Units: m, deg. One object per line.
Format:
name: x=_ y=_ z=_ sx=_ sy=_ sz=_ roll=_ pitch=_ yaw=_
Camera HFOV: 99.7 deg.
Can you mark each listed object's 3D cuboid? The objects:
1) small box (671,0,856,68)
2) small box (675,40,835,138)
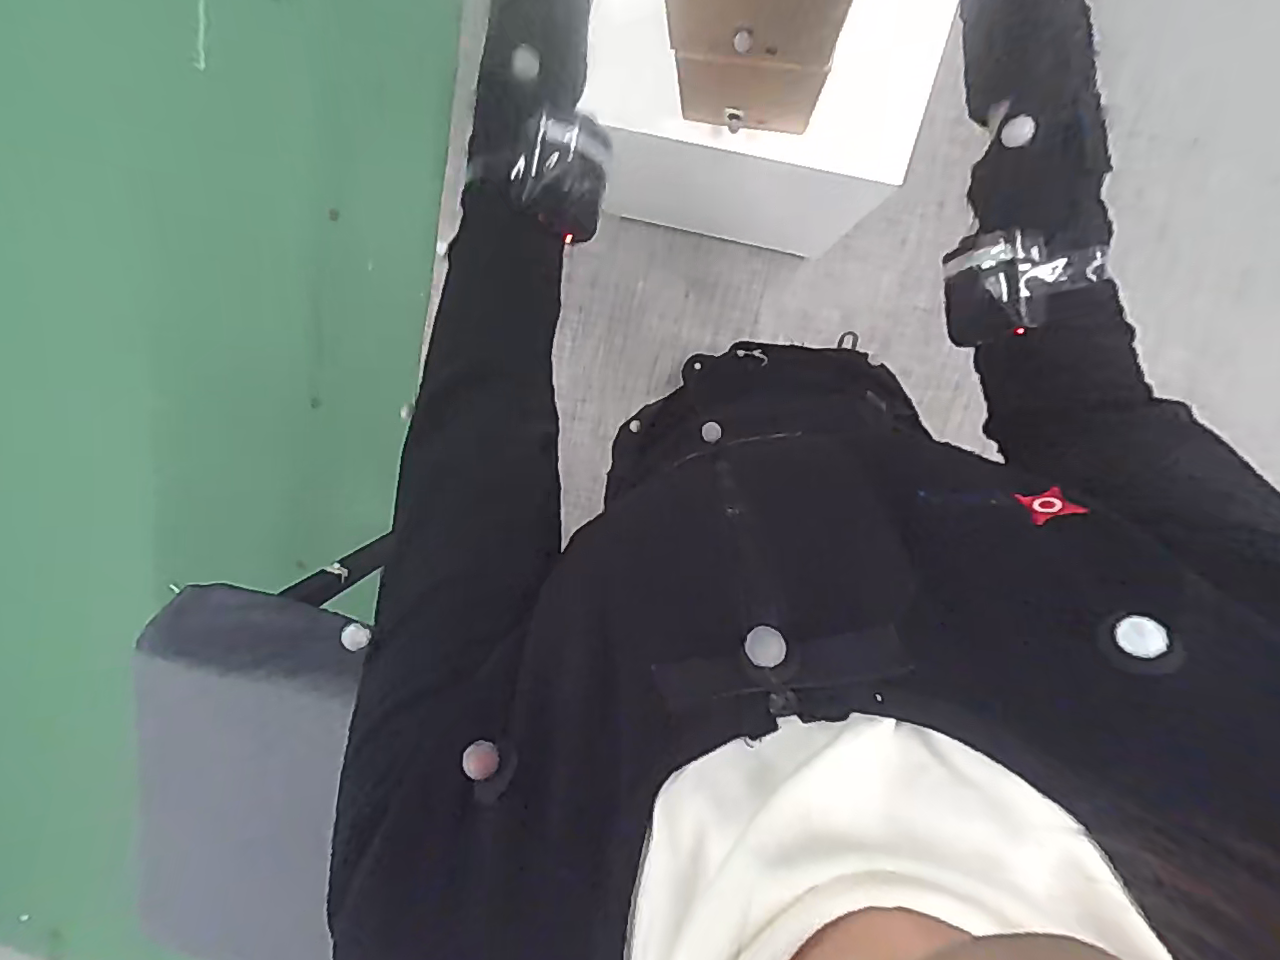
small box: x=0.114 y=-0.496 z=0.457 sx=0.168 sy=0.176 sz=0.179 roll=8 pitch=102 yaw=7
small box: x=0.139 y=-0.525 z=0.616 sx=0.168 sy=0.176 sz=0.179 roll=10 pitch=105 yaw=7
